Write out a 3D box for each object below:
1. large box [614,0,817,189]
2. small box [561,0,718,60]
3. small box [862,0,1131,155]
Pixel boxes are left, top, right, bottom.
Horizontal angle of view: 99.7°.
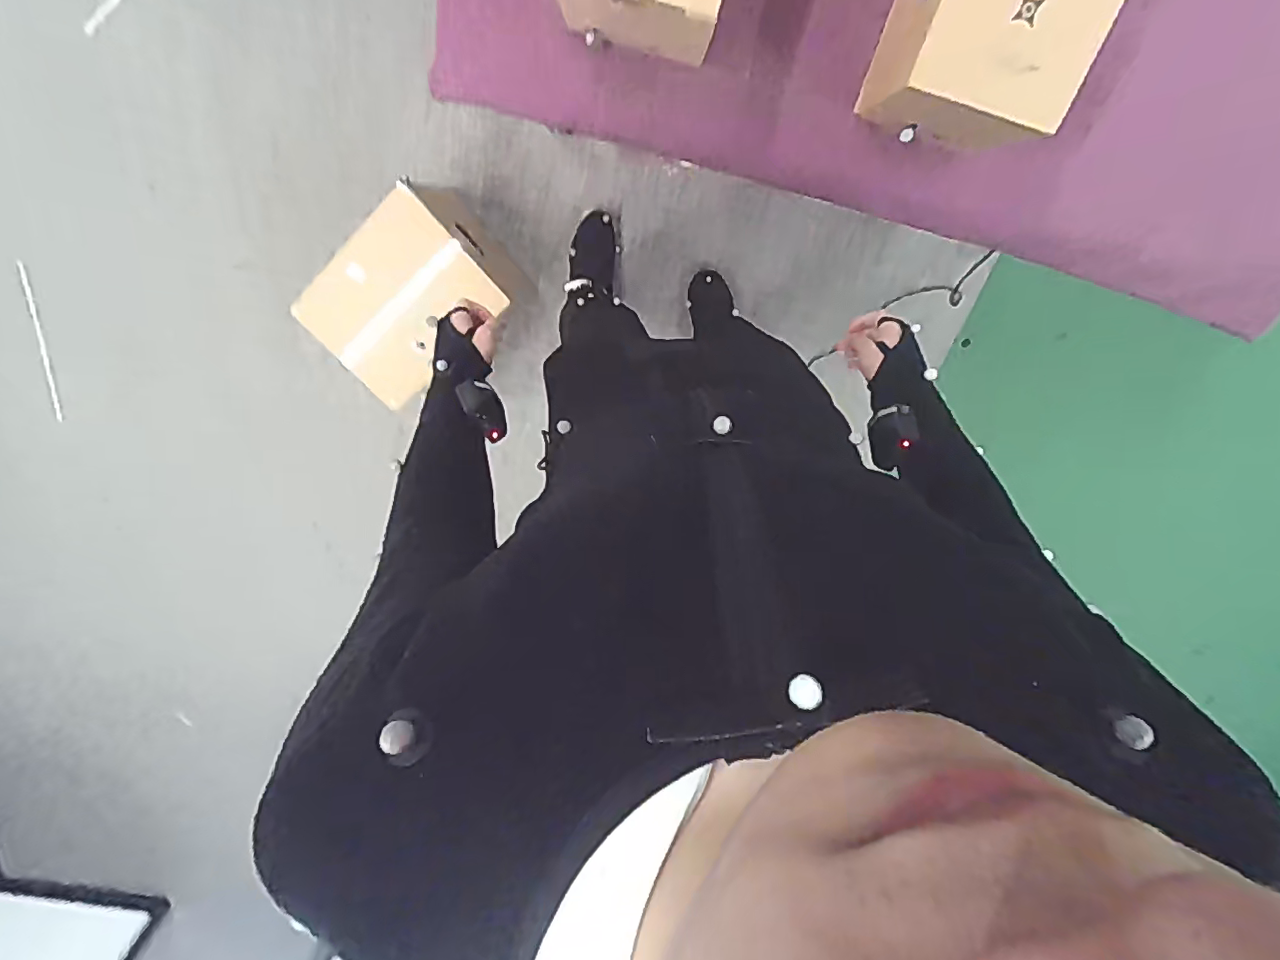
[{"bbox_3d":[0.145,-0.865,1.117,0.320,0.320,0.408,13,115,-6],"label":"large box"},{"bbox_3d":[0.012,-0.554,0.533,0.168,0.176,0.179,12,114,-5],"label":"small box"},{"bbox_3d":[0.363,-0.470,0.569,0.168,0.176,0.179,15,115,-5],"label":"small box"}]
